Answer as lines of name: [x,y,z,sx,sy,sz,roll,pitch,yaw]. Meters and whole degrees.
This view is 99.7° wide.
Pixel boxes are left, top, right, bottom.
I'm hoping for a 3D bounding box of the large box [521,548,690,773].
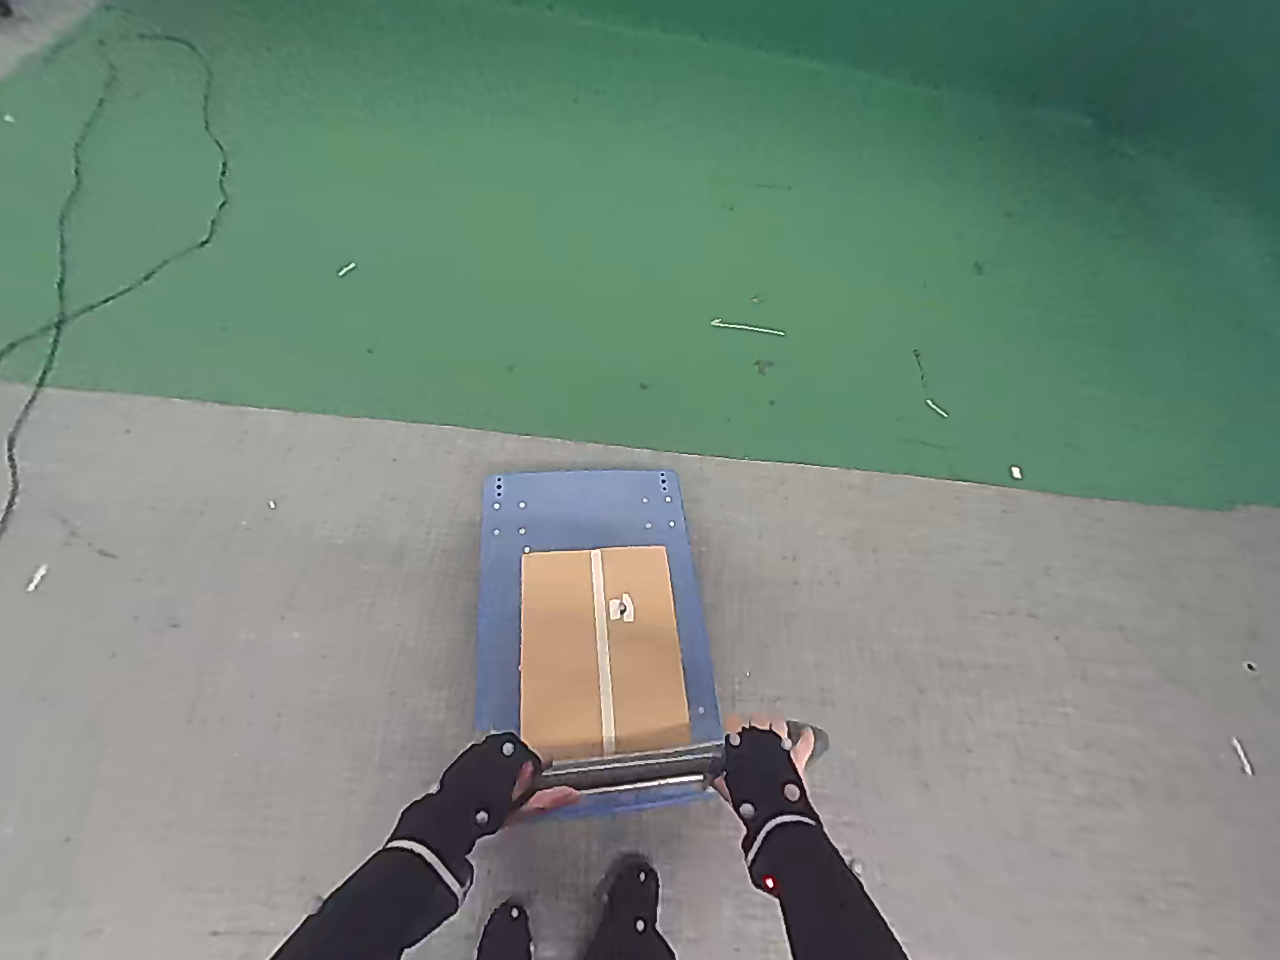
large box: [-0.096,0.406,1.213,0.320,0.320,0.408,-2,59,-9]
